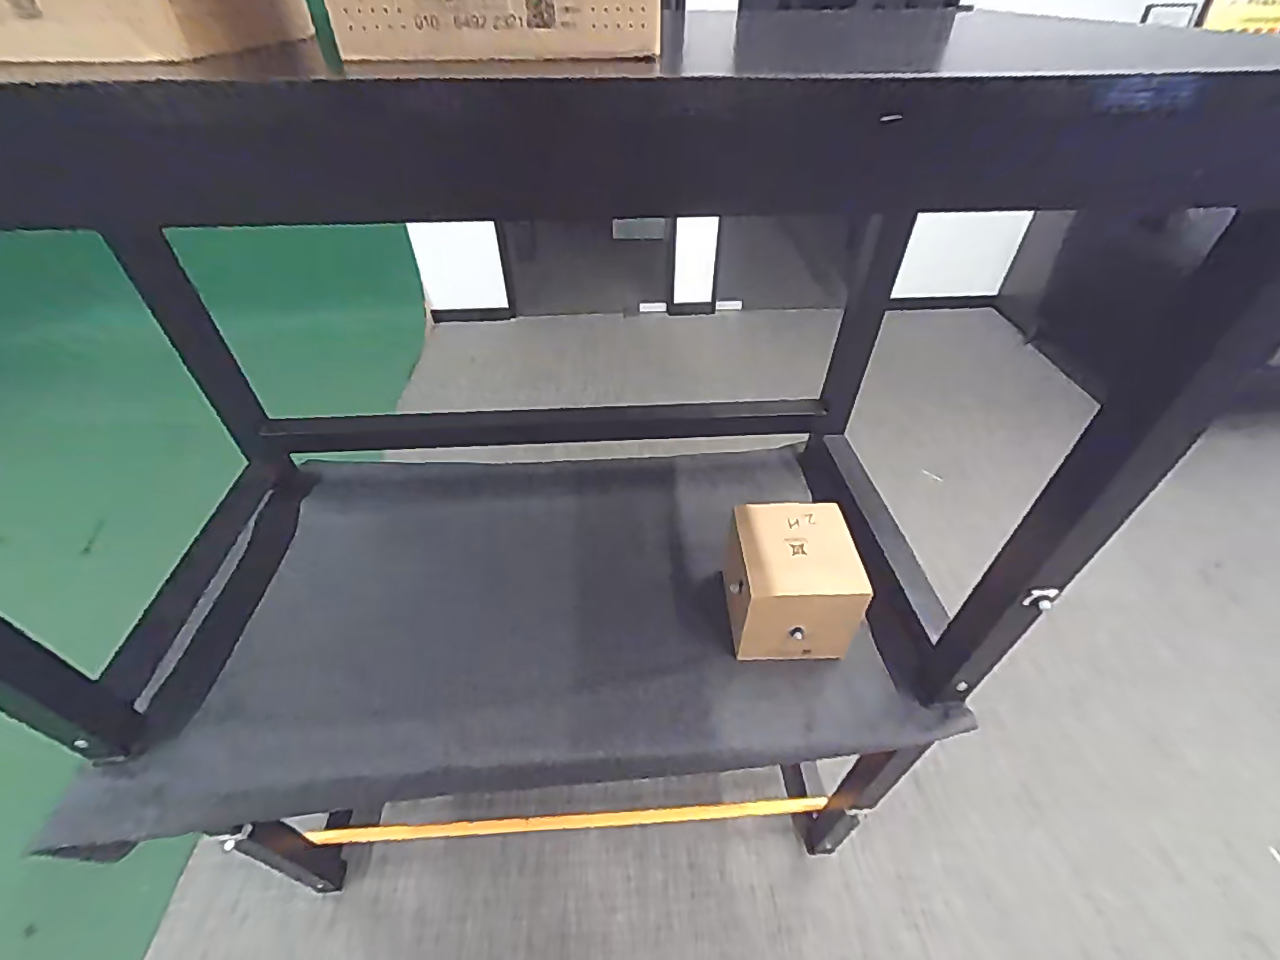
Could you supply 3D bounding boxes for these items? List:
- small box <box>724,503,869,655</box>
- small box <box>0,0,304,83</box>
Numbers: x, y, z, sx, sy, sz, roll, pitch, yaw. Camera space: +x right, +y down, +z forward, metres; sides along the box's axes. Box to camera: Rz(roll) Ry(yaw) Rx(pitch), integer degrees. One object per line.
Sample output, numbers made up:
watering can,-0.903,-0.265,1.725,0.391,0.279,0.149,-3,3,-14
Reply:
small box,0.227,0.155,0.836,0.168,0.176,0.179,0,42,0
small box,-0.317,-0.319,0.283,0.168,0.176,0.179,-2,42,-2
